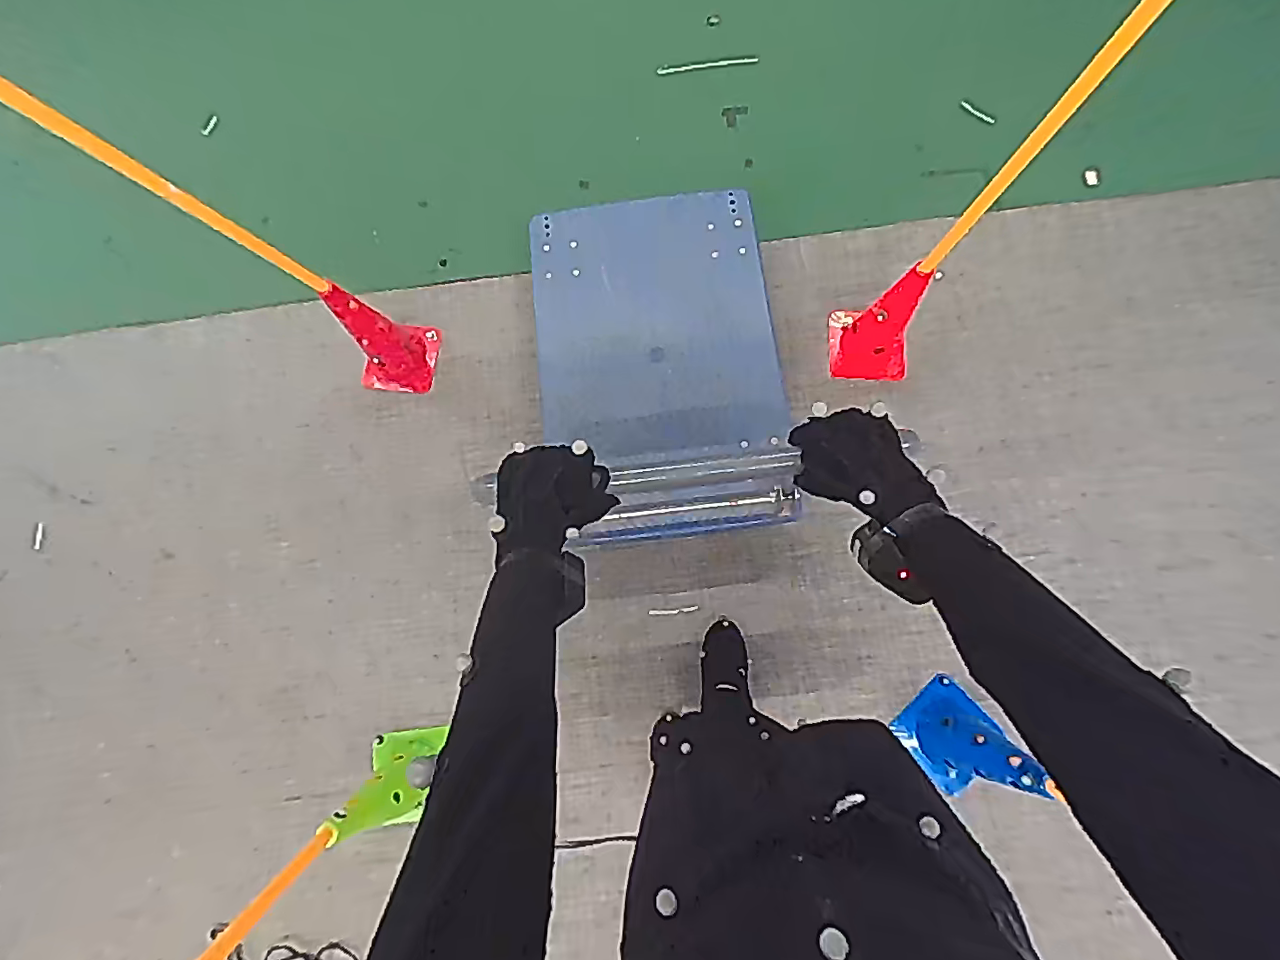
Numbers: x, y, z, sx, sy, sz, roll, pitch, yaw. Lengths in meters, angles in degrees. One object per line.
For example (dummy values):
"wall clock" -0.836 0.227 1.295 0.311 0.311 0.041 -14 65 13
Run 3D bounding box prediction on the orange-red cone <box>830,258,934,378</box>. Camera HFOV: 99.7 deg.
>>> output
"orange-red cone" 0.607 -0.408 1.296 0.198 0.360 0.199 4 78 5
